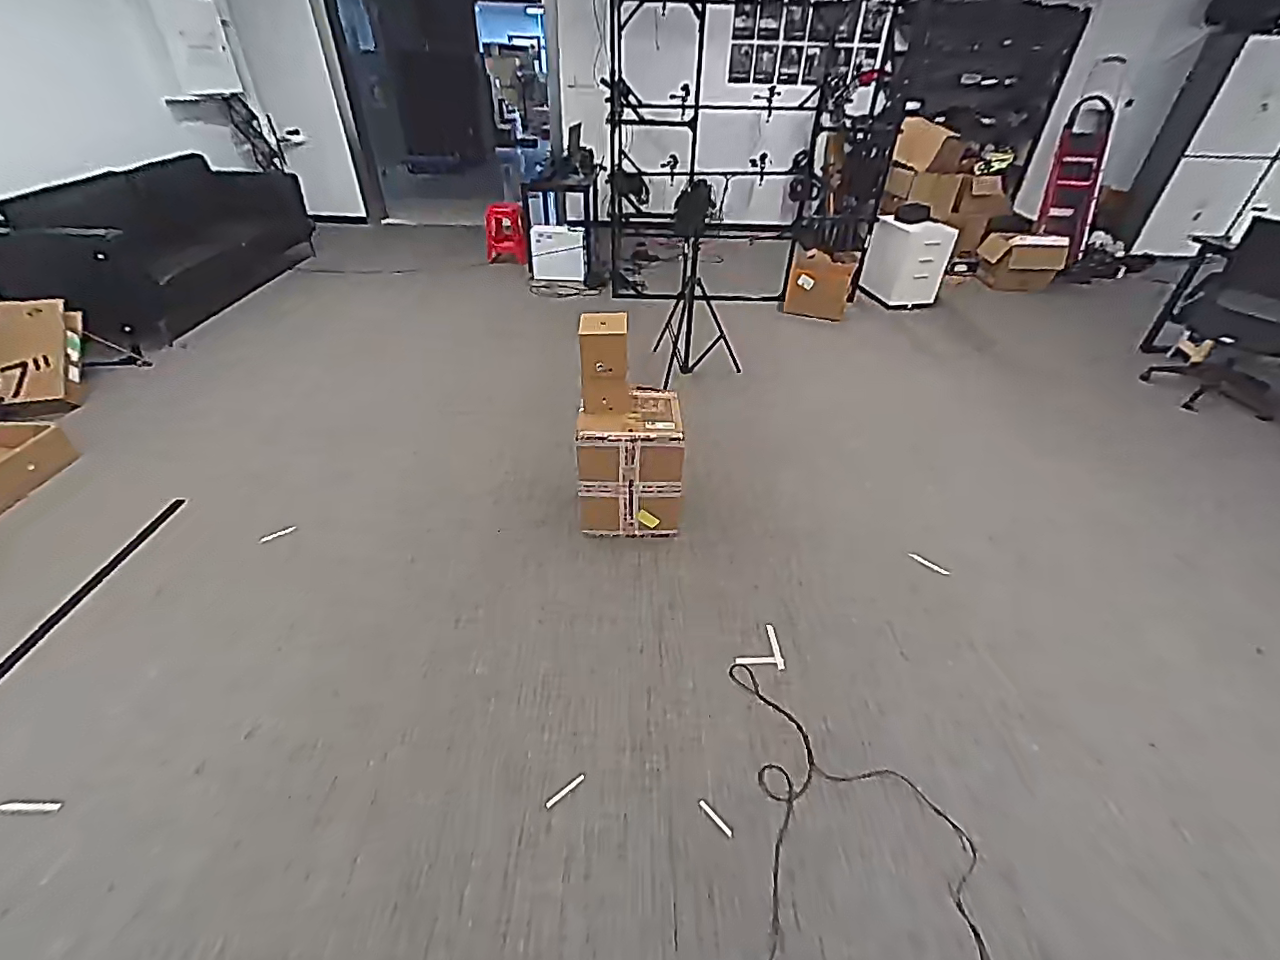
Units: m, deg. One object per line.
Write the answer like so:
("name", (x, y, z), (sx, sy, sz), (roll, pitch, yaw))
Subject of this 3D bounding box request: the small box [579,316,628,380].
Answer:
("small box", (-0.129, -0.474, 1.942), (0.168, 0.176, 0.179), (-2, 40, -1))

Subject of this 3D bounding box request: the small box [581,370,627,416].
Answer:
("small box", (-0.135, -0.362, 2.061), (0.168, 0.176, 0.179), (-1, 40, -1))
